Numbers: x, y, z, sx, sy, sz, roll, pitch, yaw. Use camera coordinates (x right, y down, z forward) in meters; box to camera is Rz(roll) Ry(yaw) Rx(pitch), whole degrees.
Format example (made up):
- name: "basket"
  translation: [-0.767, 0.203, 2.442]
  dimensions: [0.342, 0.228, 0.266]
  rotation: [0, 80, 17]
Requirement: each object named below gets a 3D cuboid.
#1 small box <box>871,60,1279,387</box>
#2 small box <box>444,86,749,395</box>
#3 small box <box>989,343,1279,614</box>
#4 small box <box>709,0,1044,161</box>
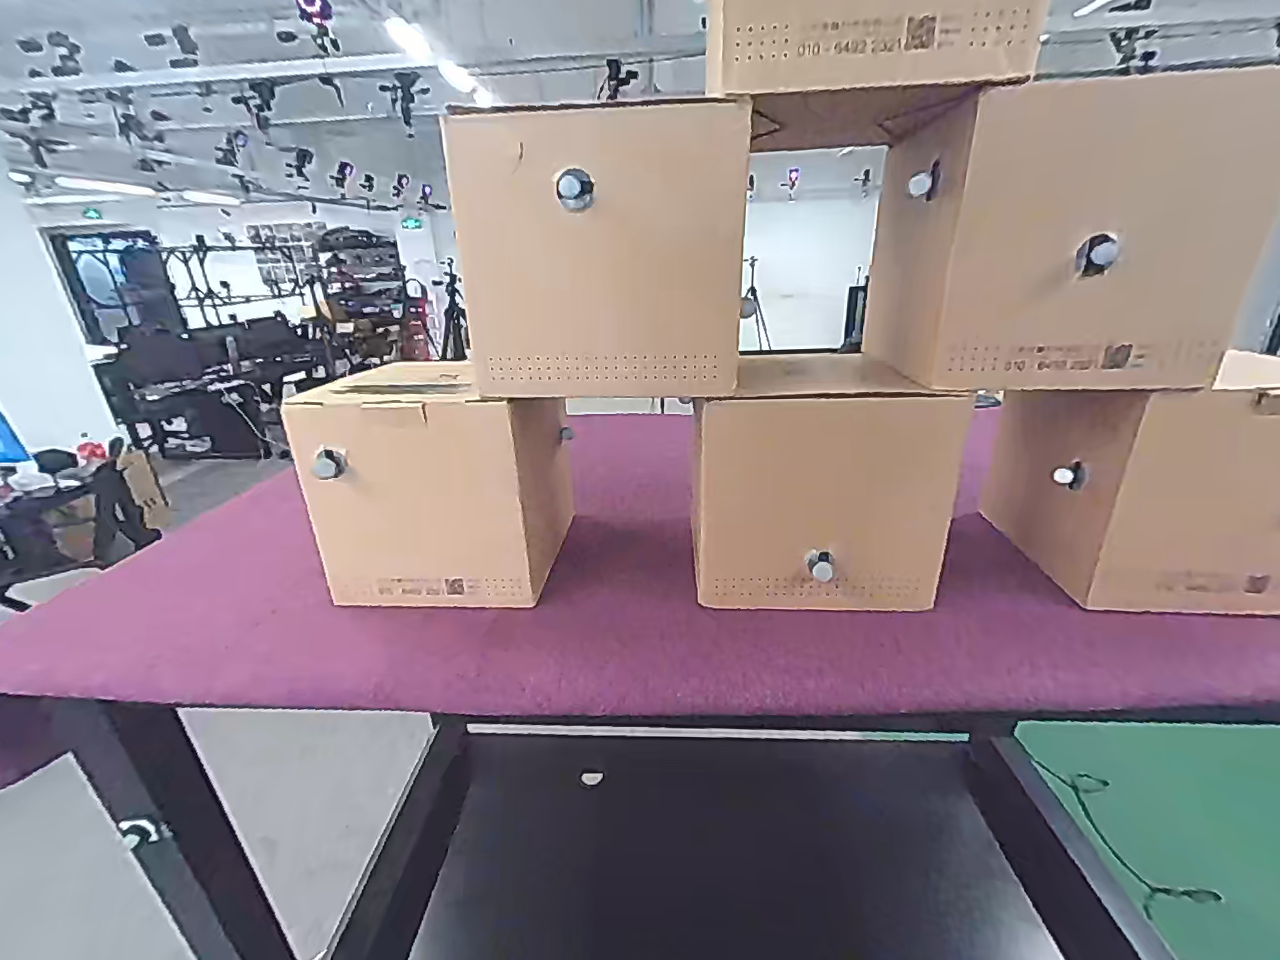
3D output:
- name: "small box"
  translation: [0.276, -0.163, 0.383]
  dimensions: [0.168, 0.176, 0.179]
  rotation: [1, 22, 7]
- name: "small box"
  translation: [-0.016, -0.160, 0.398]
  dimensions: [0.179, 0.176, 0.168]
  rotation: [1, 22, 5]
- name: "small box"
  translation: [0.413, -0.010, 0.430]
  dimensions: [0.168, 0.176, 0.179]
  rotation: [1, 21, 8]
- name: "small box"
  translation: [0.129, -0.313, 0.334]
  dimensions: [0.168, 0.176, 0.179]
  rotation: [-1, 21, 4]
